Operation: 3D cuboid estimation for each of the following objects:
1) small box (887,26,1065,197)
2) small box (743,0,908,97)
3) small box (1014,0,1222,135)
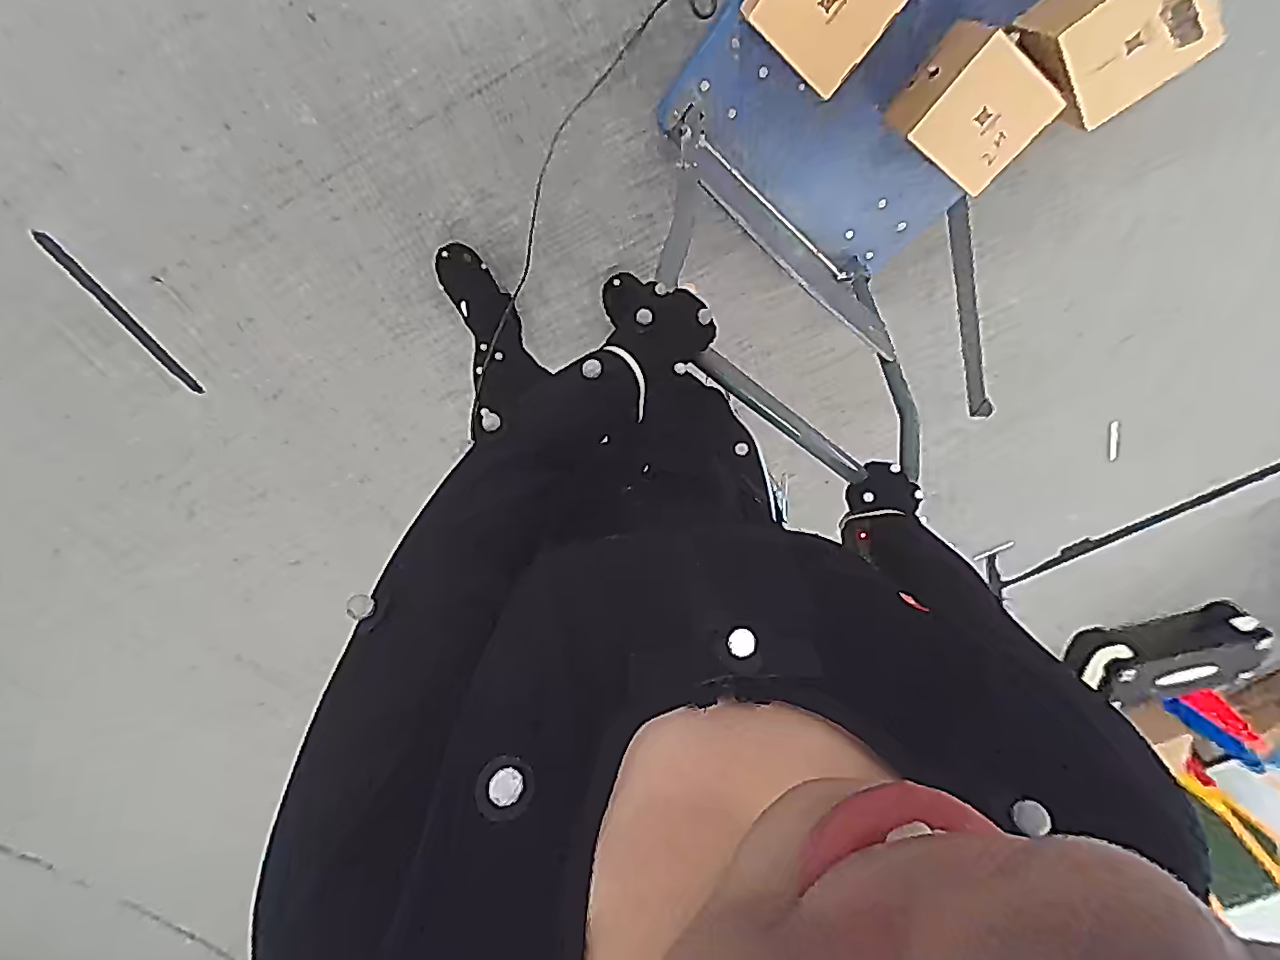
[{"bbox_3d":[0.556,-0.629,0.921,0.179,0.176,0.168,27,131,-19],"label":"small box"},{"bbox_3d":[0.278,-0.743,0.834,0.179,0.176,0.168,28,130,-23],"label":"small box"},{"bbox_3d":[0.731,-0.692,0.841,0.179,0.176,0.168,-30,125,31],"label":"small box"}]
